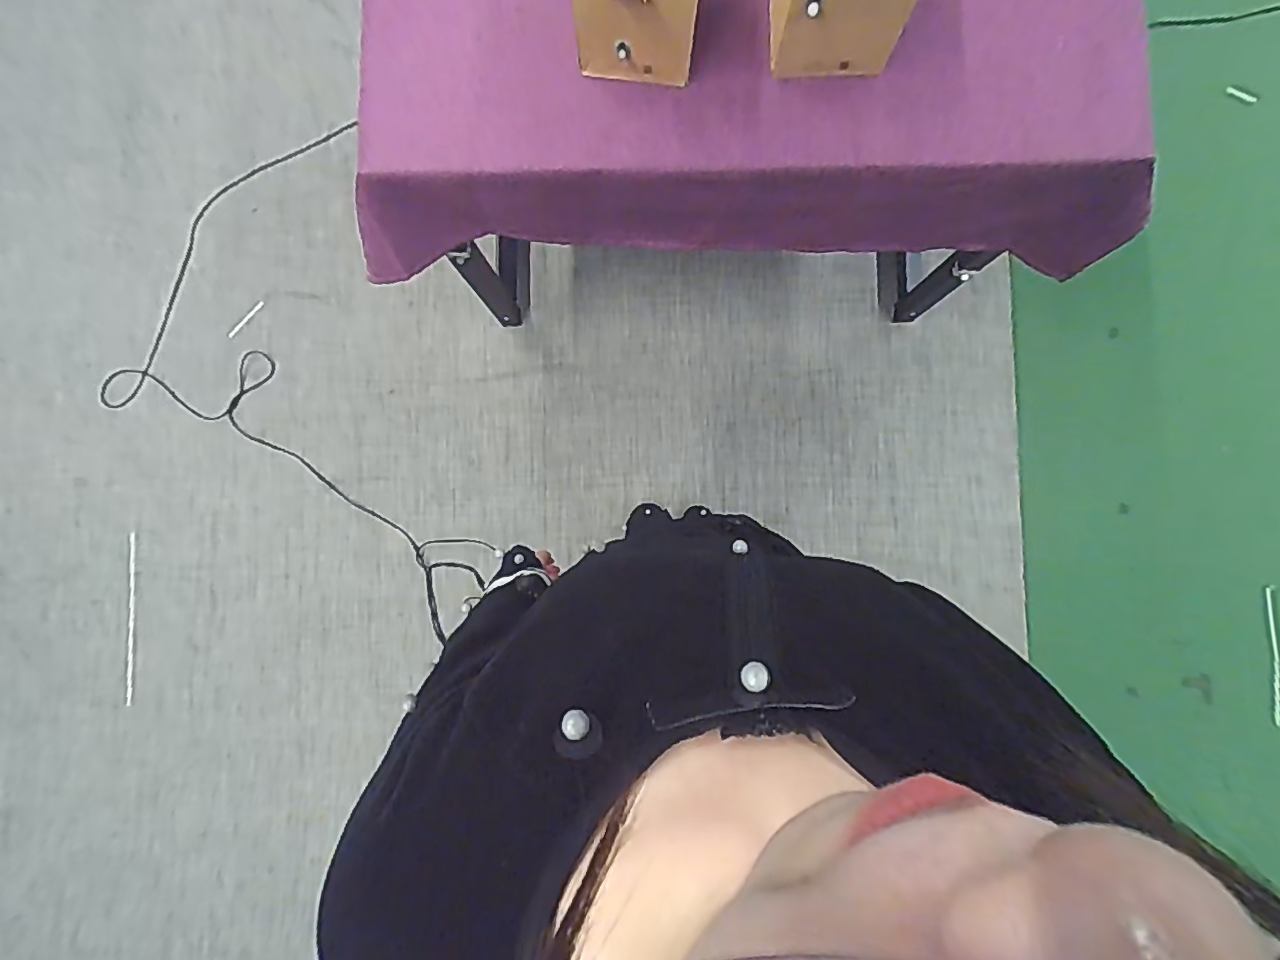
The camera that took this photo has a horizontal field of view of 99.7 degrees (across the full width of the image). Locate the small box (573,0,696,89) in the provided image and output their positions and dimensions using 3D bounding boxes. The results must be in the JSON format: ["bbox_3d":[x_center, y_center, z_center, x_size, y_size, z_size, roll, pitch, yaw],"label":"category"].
[{"bbox_3d":[-0.002,-0.714,0.774,0.168,0.176,0.179,8,87,2],"label":"small box"}]
